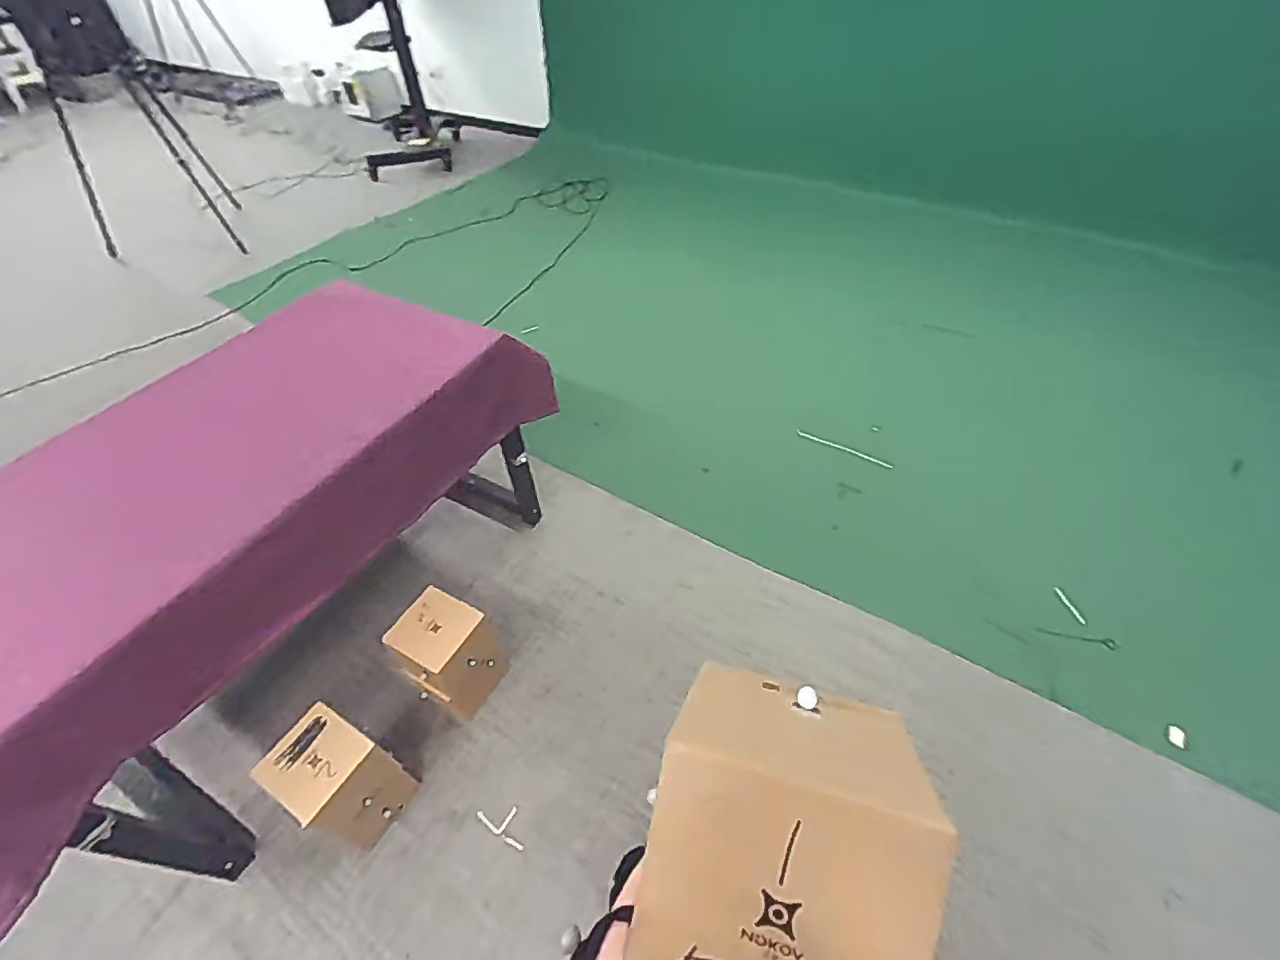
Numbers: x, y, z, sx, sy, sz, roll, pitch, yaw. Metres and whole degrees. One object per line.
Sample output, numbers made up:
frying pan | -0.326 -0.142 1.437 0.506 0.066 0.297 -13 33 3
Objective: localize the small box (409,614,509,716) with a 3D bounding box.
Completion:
small box | -0.476 0.502 1.455 0.168 0.176 0.179 23 53 21
